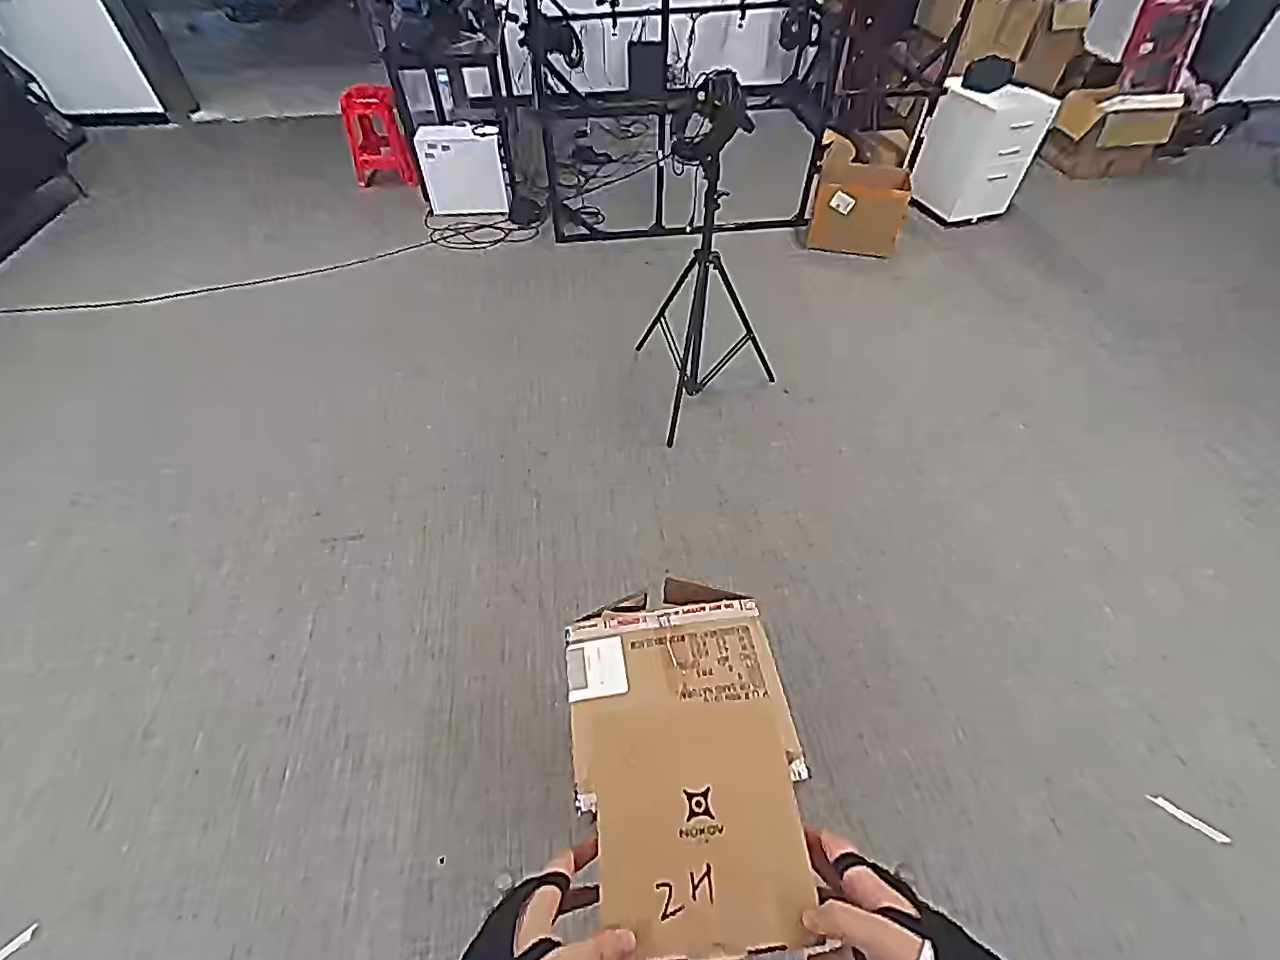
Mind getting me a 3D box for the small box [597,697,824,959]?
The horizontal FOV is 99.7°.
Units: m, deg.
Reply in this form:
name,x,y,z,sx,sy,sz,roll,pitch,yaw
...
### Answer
name,x,y,z,sx,sy,sz,roll,pitch,yaw
small box,0.045,0.320,0.501,0.168,0.176,0.179,-3,52,-4
